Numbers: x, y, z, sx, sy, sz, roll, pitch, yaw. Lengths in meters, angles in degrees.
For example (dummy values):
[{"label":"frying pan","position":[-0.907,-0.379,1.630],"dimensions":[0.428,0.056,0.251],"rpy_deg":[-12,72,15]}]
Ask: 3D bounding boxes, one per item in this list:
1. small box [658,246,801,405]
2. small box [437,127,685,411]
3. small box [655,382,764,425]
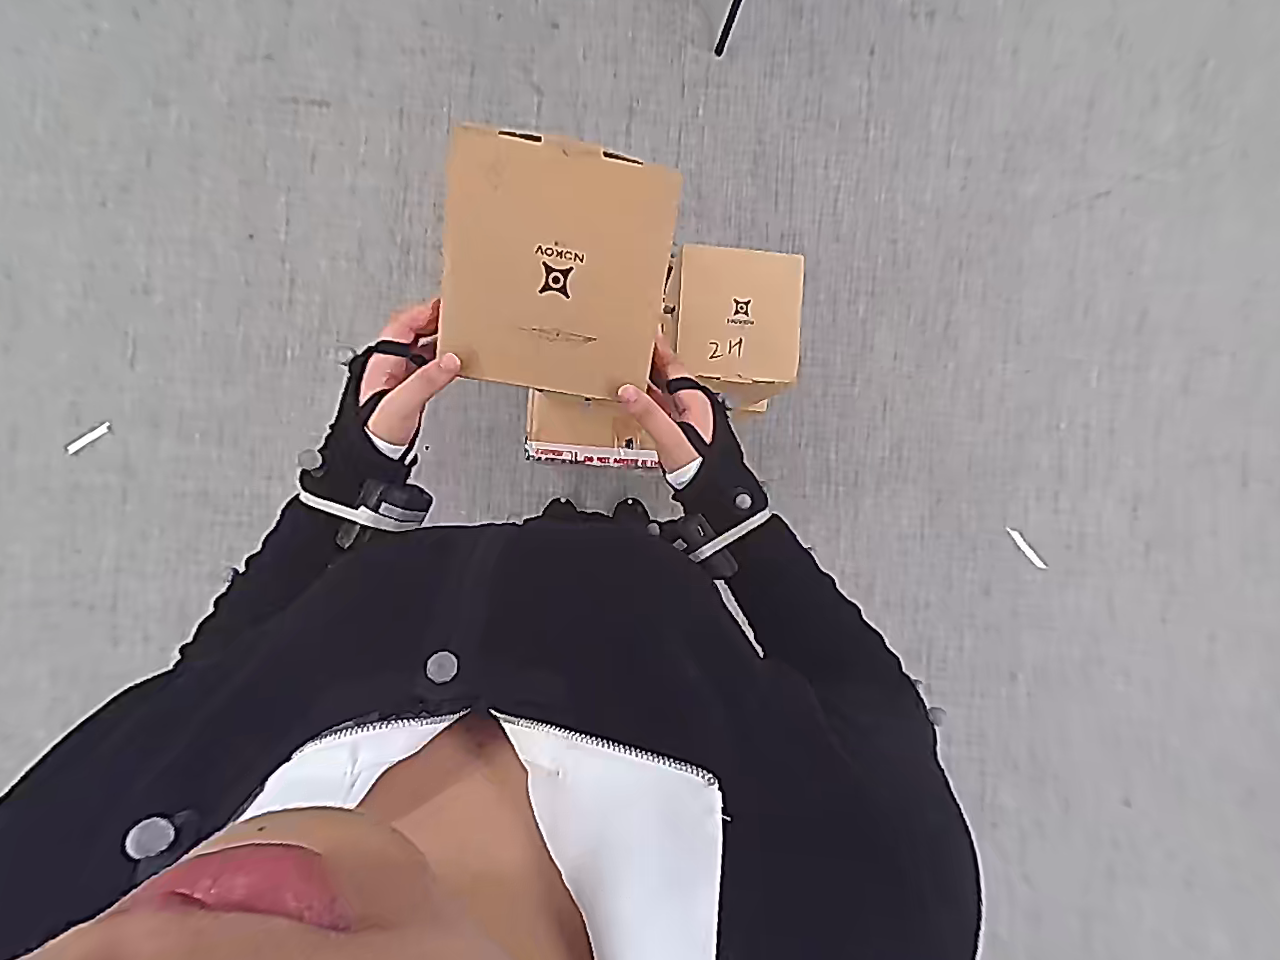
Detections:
[{"label":"small box","position":[0.120,-0.214,0.791],"dimensions":[0.168,0.176,0.179],"rpy_deg":[4,90,-5]},{"label":"small box","position":[-0.068,-0.171,0.481],"dimensions":[0.168,0.176,0.179],"rpy_deg":[9,105,-7]},{"label":"small box","position":[0.122,-0.200,0.957],"dimensions":[0.168,0.176,0.179],"rpy_deg":[6,90,-5]}]
